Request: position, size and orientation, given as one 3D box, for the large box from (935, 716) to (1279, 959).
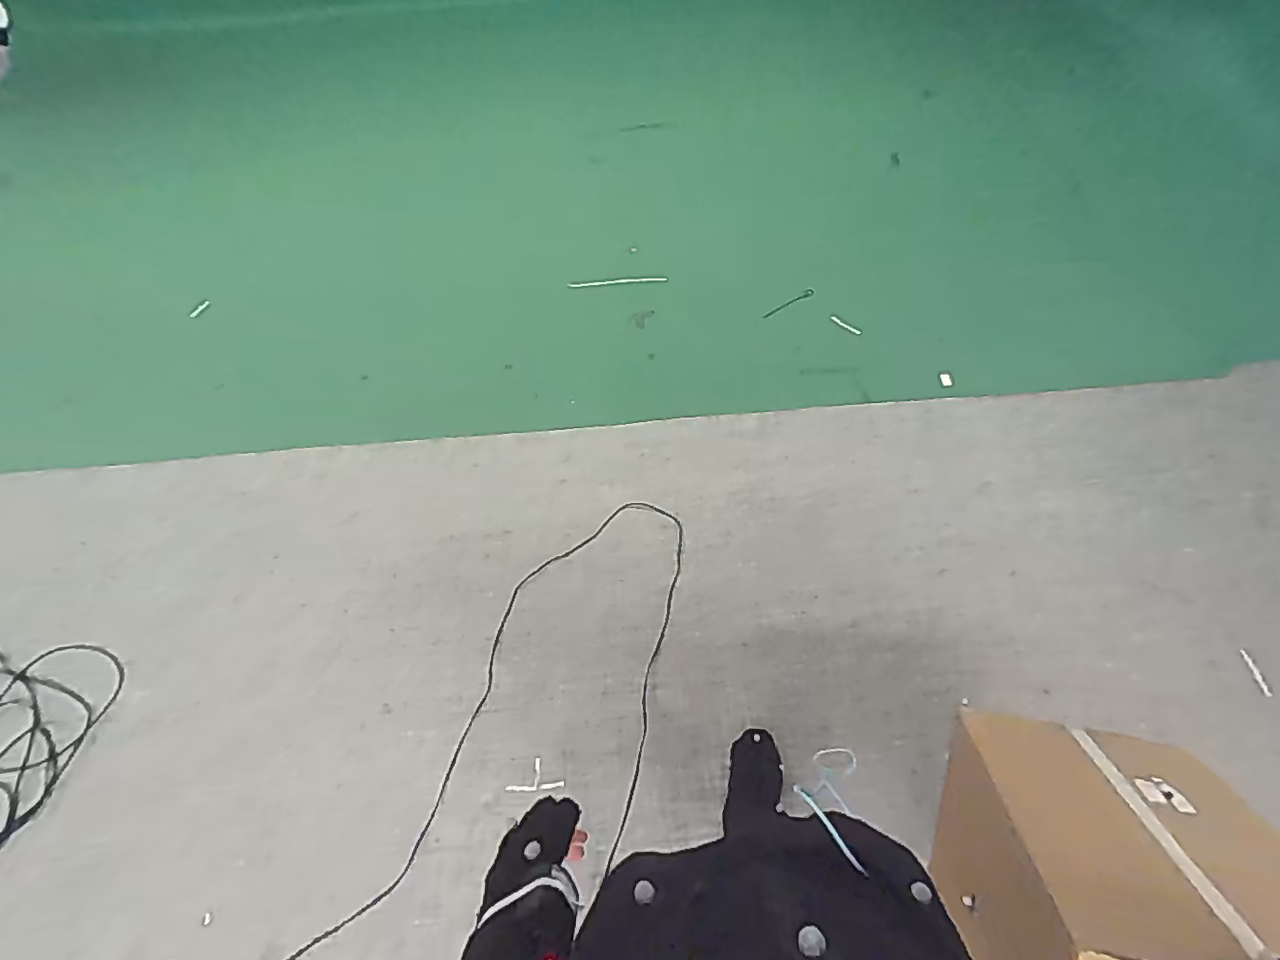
[{"bbox_3d":[0.592,0.565,0.659,0.320,0.408,0.320,7,100,15],"label":"large box"}]
